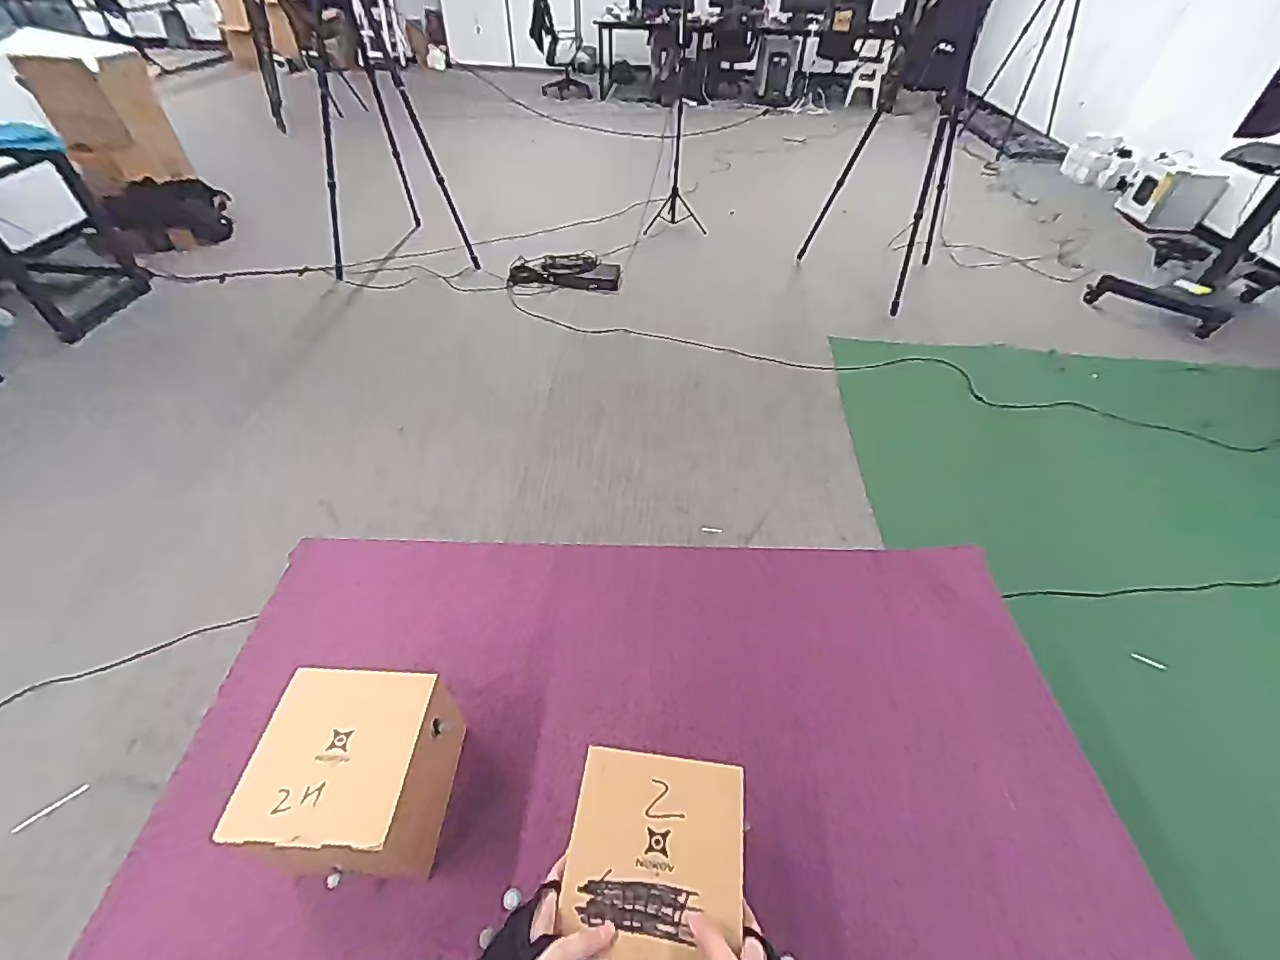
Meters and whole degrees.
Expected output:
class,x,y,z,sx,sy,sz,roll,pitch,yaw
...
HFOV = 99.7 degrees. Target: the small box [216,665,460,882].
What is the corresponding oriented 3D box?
class,x,y,z,sx,sy,sz,roll,pitch,yaw
small box,-0.320,0.338,0.624,0.168,0.176,0.179,2,45,1
